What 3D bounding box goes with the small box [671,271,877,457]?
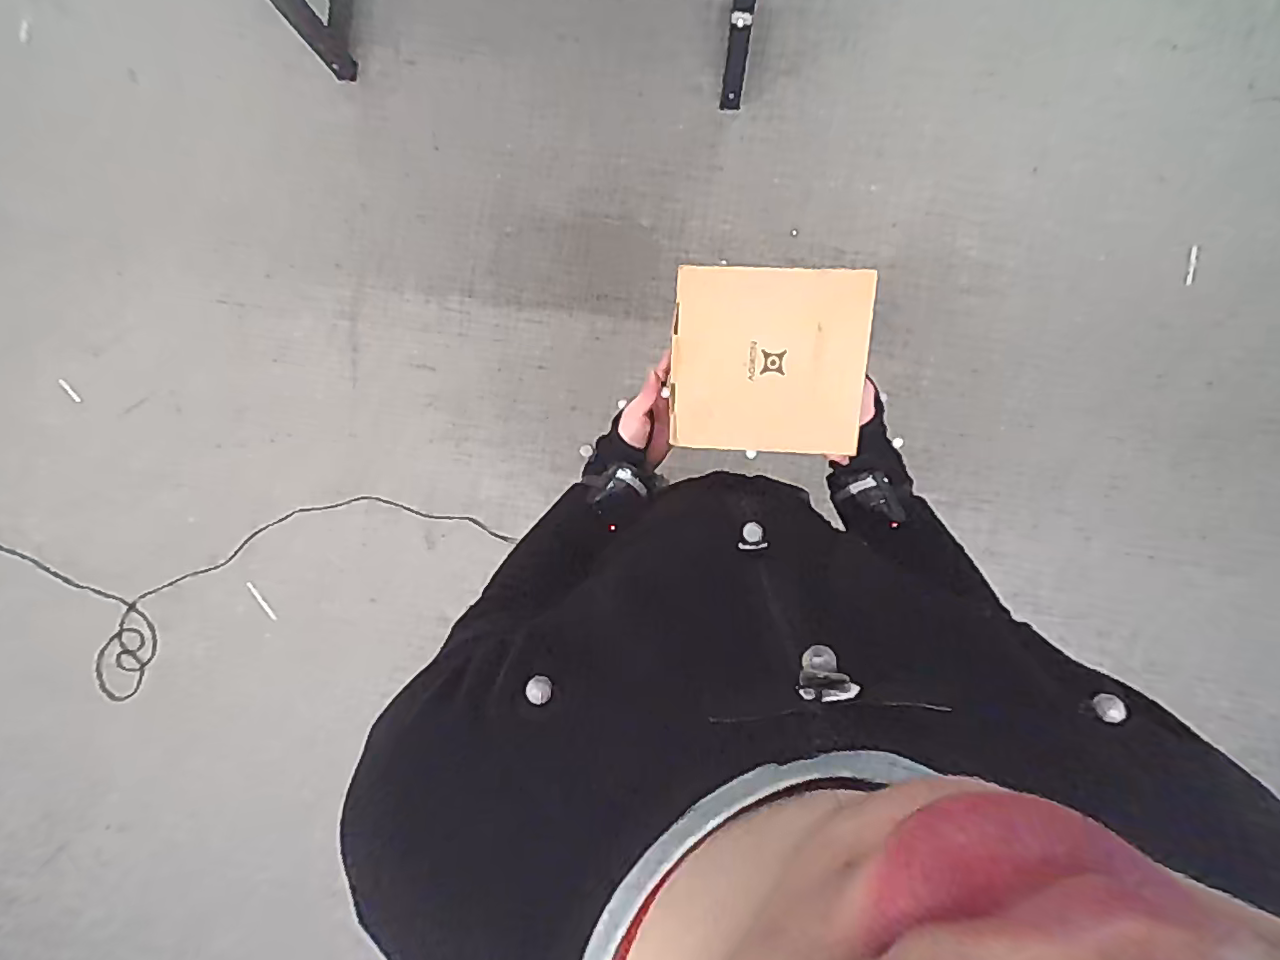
[{"bbox_3d":[0.127,-0.123,0.573,0.179,0.176,0.168,2,104,5],"label":"small box"}]
